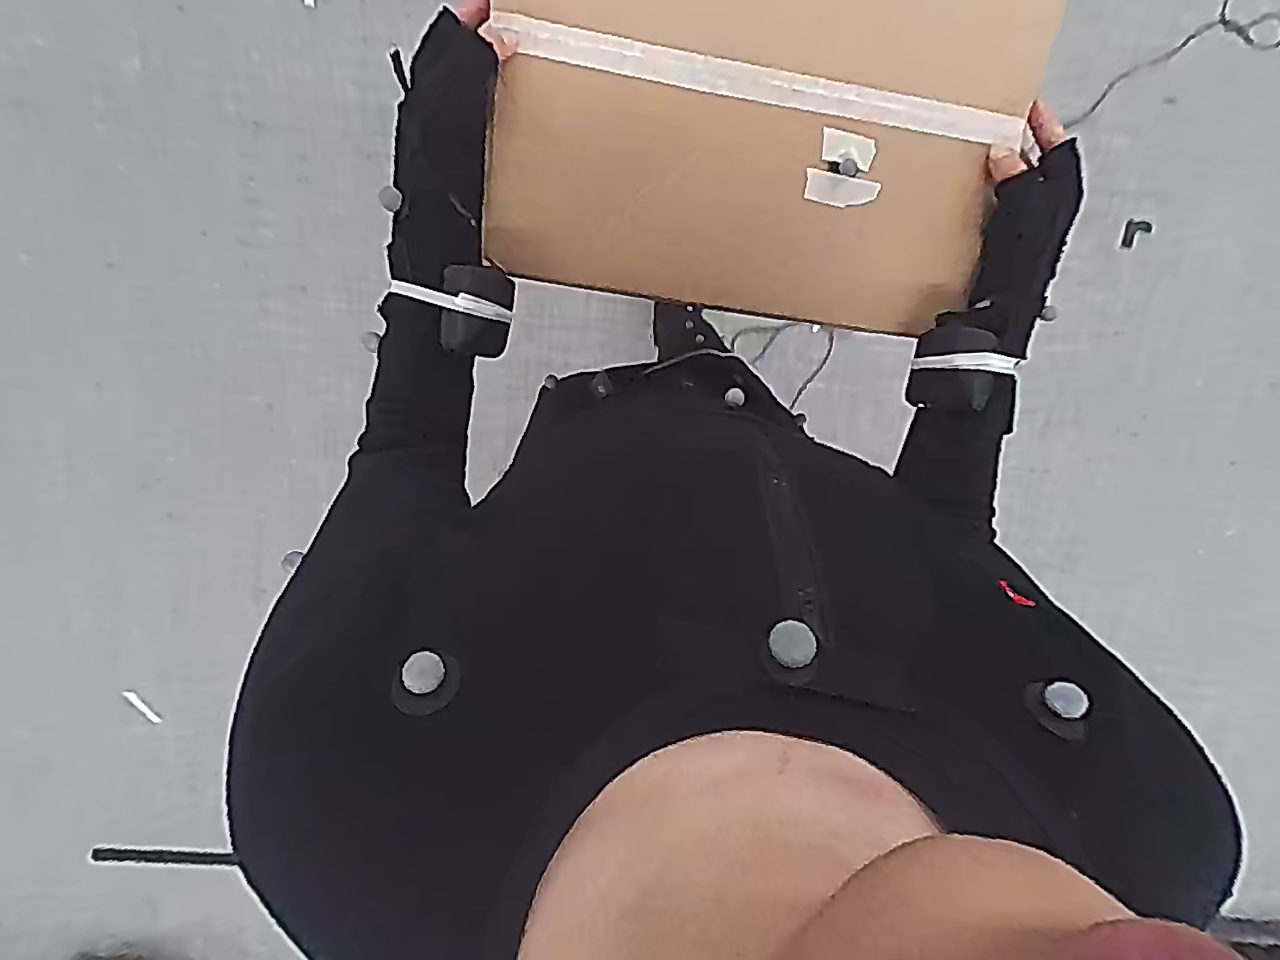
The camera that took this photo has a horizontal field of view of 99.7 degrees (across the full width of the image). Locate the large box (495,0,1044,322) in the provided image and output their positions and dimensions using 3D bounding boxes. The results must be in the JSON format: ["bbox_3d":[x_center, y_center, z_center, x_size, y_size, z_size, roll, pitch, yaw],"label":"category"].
[{"bbox_3d":[0.081,-0.350,0.547,0.408,0.320,0.320,6,110,-8],"label":"large box"}]
